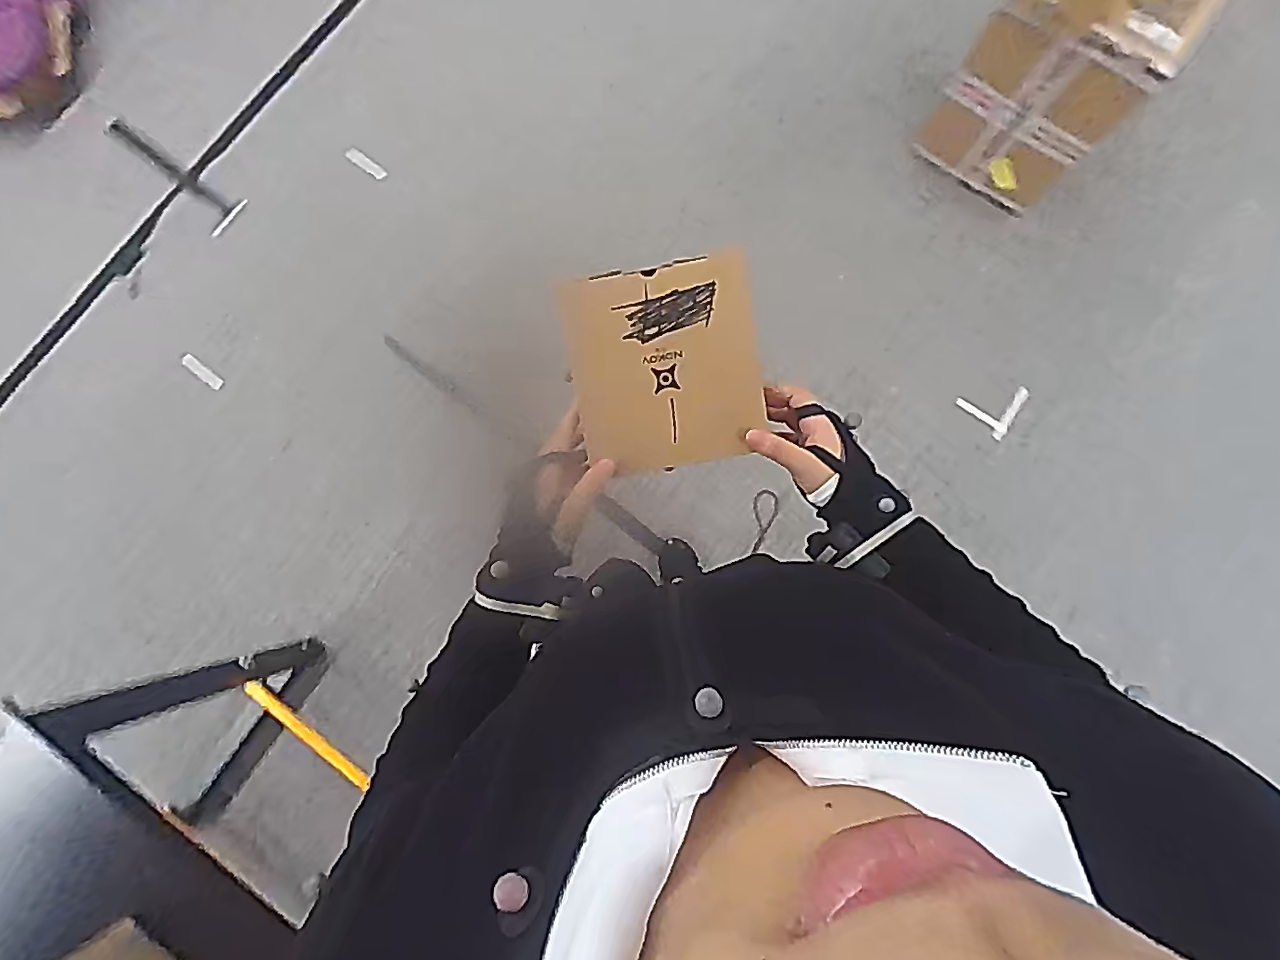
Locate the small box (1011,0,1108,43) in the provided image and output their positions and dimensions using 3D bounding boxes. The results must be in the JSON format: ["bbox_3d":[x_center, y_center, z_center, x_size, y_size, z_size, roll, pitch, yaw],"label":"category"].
[{"bbox_3d":[0.907,-1.057,1.094,0.168,0.176,0.179,37,88,7],"label":"small box"}]

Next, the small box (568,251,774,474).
[{"bbox_3d":[0.027,-0.111,0.553,0.168,0.176,0.179,-9,98,1],"label":"small box"}]
